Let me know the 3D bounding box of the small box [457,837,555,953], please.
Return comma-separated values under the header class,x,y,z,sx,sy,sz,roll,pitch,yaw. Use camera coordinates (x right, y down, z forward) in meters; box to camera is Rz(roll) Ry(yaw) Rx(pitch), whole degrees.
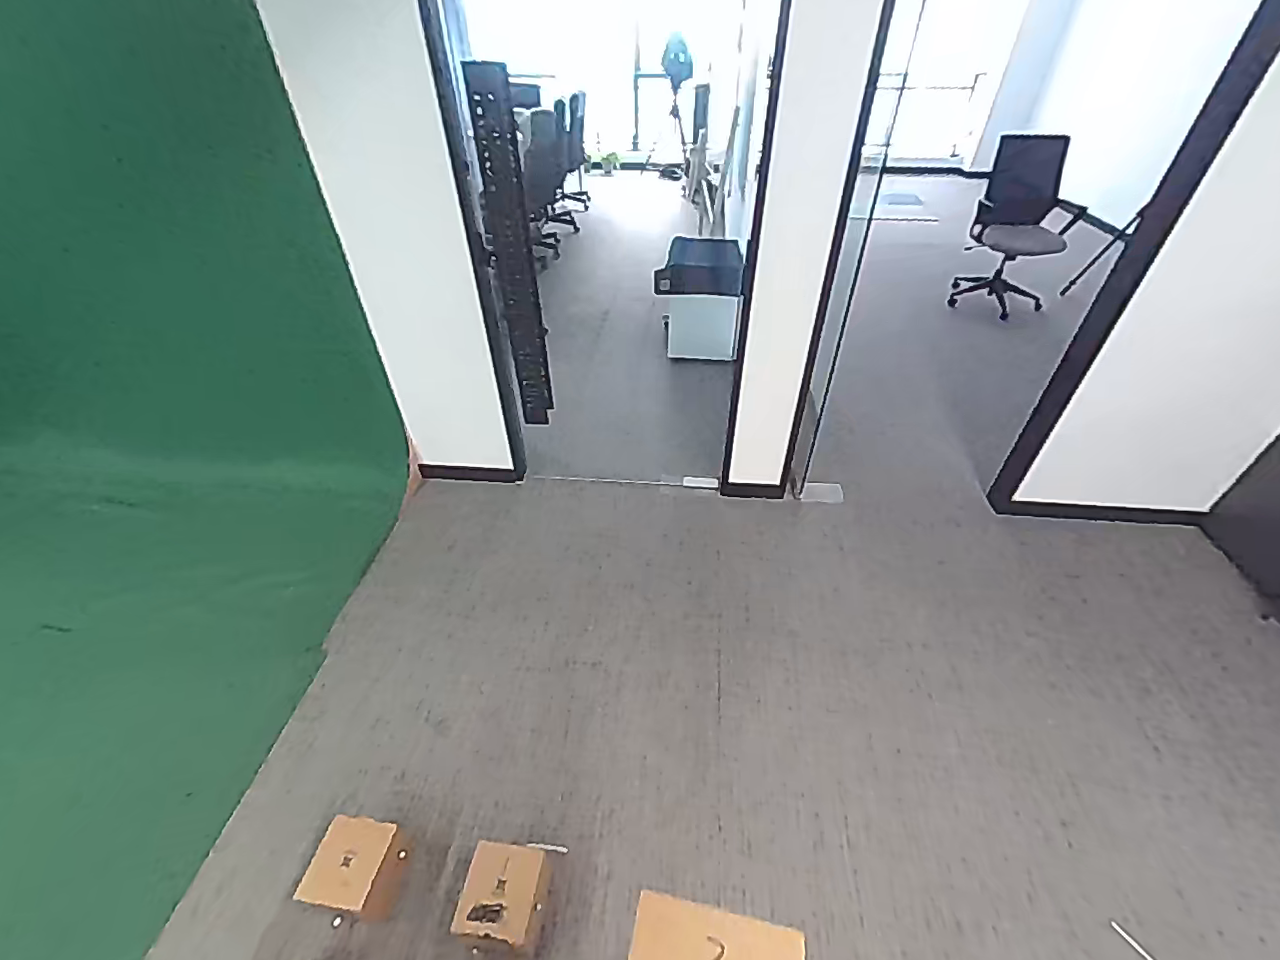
class,x,y,z,sx,sy,sz,roll,pitch,yaw
small box,-0.305,0.982,1.277,0.168,0.176,0.179,5,40,7
